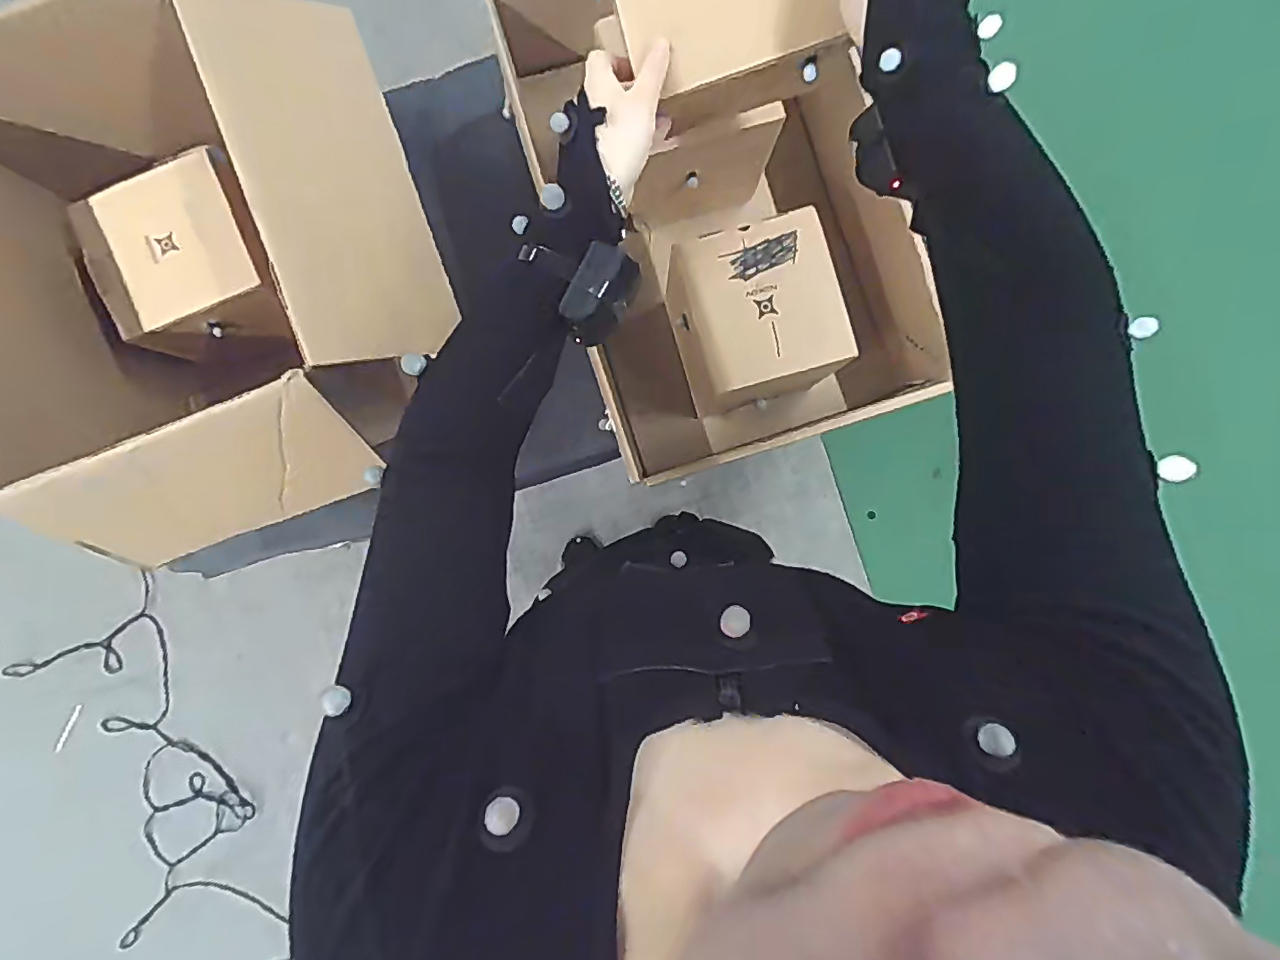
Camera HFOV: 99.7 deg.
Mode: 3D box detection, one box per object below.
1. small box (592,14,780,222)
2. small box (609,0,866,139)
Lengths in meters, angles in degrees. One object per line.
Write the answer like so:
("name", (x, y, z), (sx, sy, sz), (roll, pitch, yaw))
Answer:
("small box", (0.052, -0.454, 0.677), (0.179, 0.176, 0.168), (-17, 91, 0))
("small box", (0.062, -0.410, 0.447), (0.179, 0.176, 0.168), (-15, 112, 8))
